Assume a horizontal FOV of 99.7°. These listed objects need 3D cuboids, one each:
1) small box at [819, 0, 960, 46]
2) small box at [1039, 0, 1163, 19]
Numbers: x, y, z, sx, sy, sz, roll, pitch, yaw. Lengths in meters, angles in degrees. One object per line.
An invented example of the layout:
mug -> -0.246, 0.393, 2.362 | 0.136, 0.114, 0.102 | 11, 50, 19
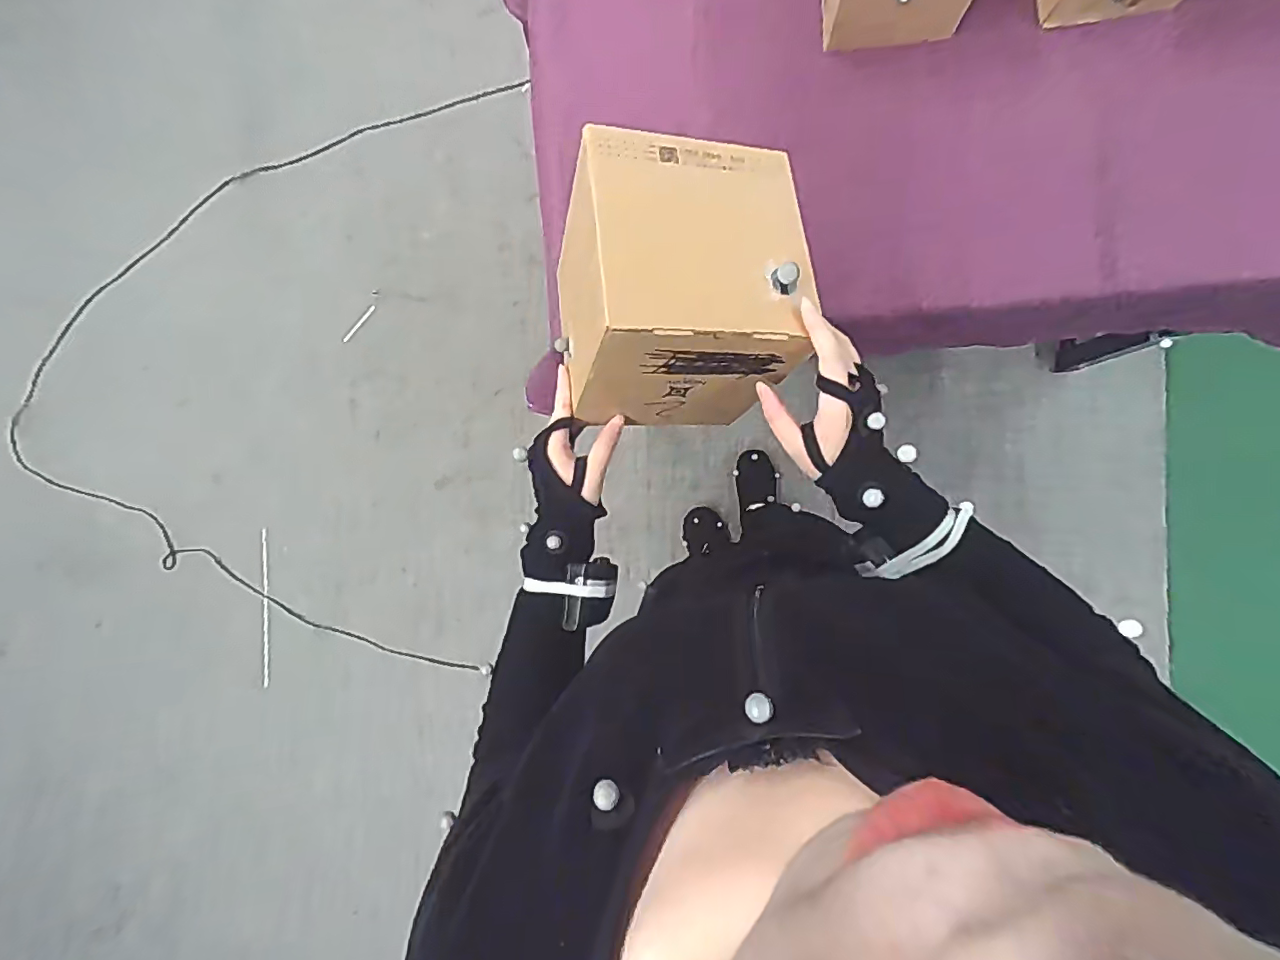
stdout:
small box -> 0.334, -0.702, 0.686 | 0.179, 0.176, 0.168 | -2, 89, 8
small box -> 0.613, -0.721, 0.654 | 0.168, 0.176, 0.179 | -3, 90, 7
